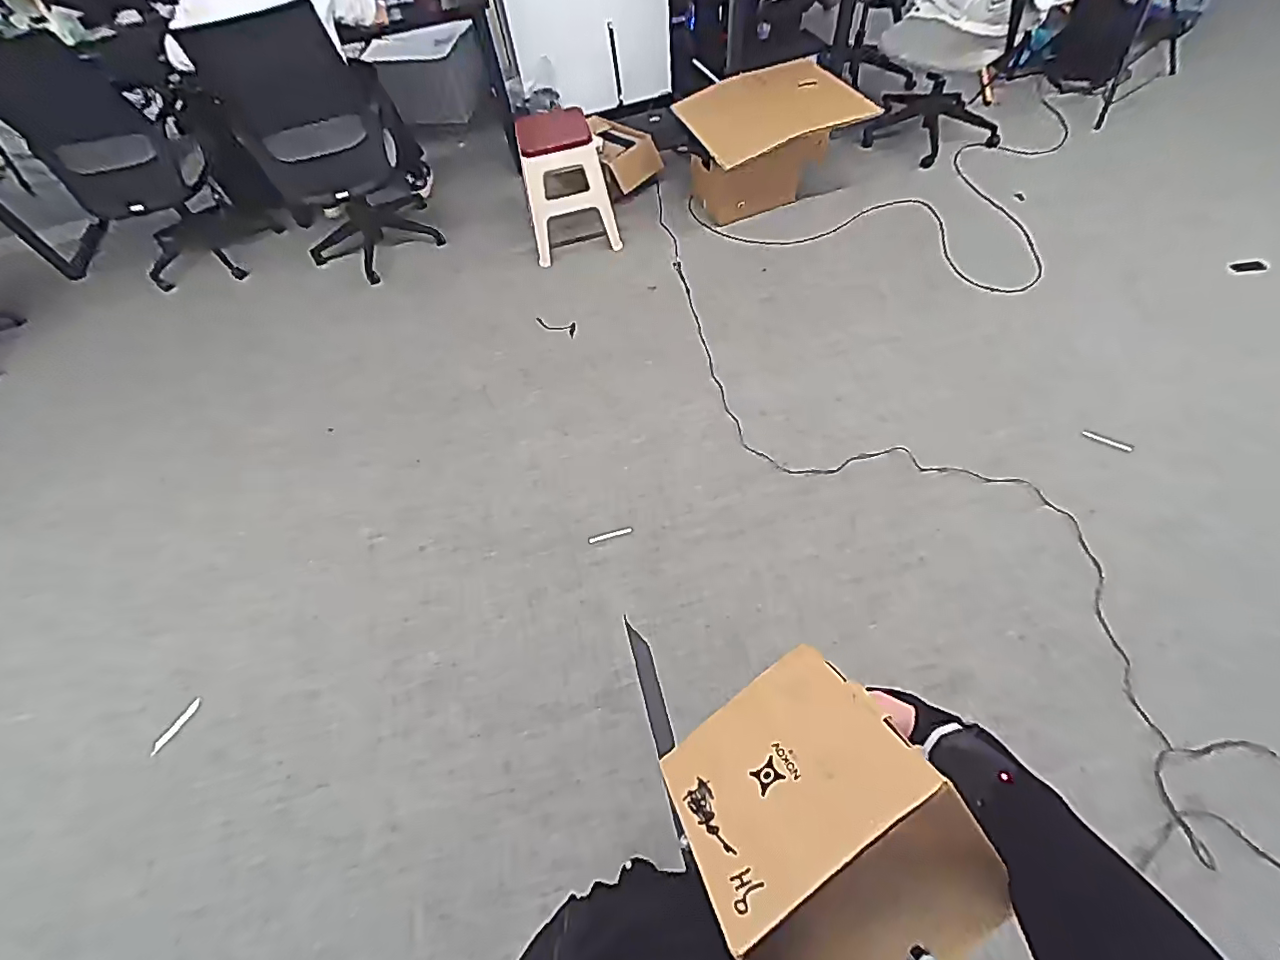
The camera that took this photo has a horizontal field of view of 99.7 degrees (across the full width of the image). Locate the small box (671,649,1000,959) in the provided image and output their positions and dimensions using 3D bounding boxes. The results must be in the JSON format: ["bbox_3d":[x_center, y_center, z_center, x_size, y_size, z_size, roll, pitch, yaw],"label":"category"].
[{"bbox_3d":[0.160,0.289,0.452,0.179,0.176,0.168,-38,21,-2],"label":"small box"}]
